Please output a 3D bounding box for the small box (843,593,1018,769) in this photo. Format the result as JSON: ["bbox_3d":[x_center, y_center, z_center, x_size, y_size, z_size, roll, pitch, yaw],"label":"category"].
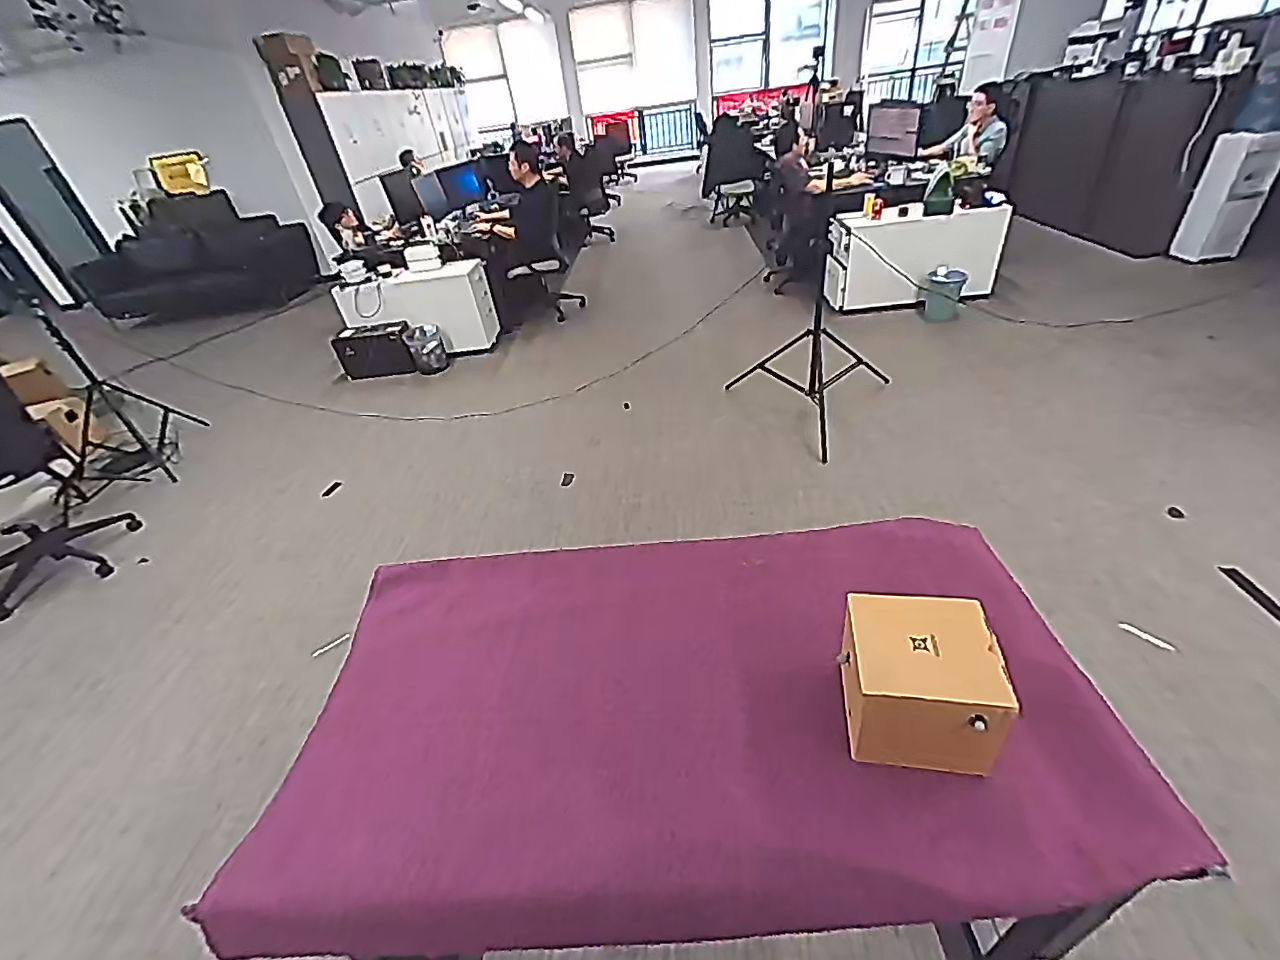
[{"bbox_3d":[0.385,0.279,0.758,0.179,0.176,0.168,0,37,13],"label":"small box"}]
